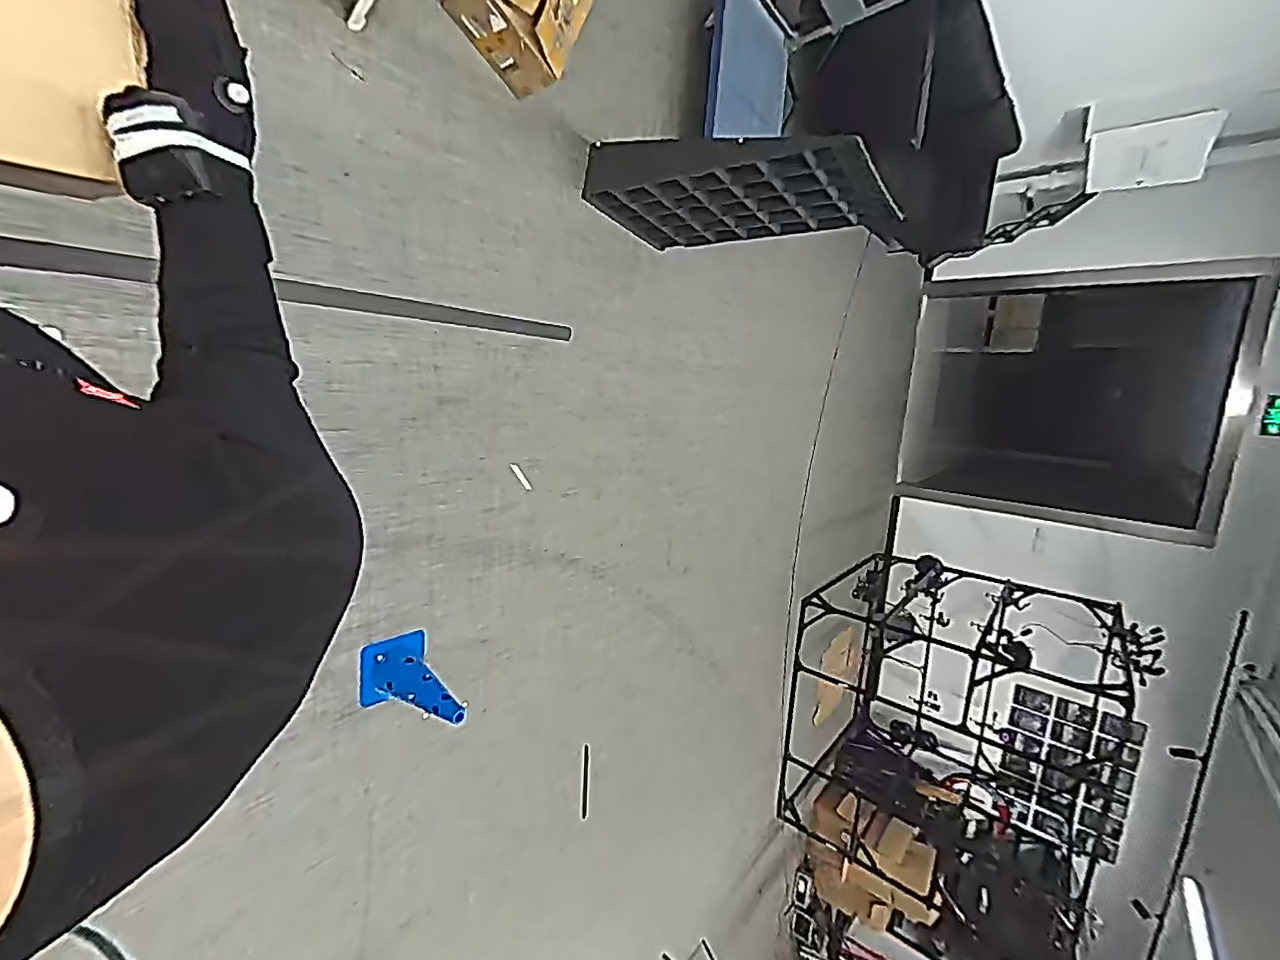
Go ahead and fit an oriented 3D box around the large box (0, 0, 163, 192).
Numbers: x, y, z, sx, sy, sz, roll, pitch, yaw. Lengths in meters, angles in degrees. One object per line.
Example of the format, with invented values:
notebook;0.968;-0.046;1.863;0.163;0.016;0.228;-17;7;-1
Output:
large box;-0.592;-0.386;0.312;0.408;0.320;0.320;-13;117;-50

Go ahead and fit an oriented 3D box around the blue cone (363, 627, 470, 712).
blue cone;-0.631;0.588;1.574;0.192;0.380;0.193;-4;102;-52
